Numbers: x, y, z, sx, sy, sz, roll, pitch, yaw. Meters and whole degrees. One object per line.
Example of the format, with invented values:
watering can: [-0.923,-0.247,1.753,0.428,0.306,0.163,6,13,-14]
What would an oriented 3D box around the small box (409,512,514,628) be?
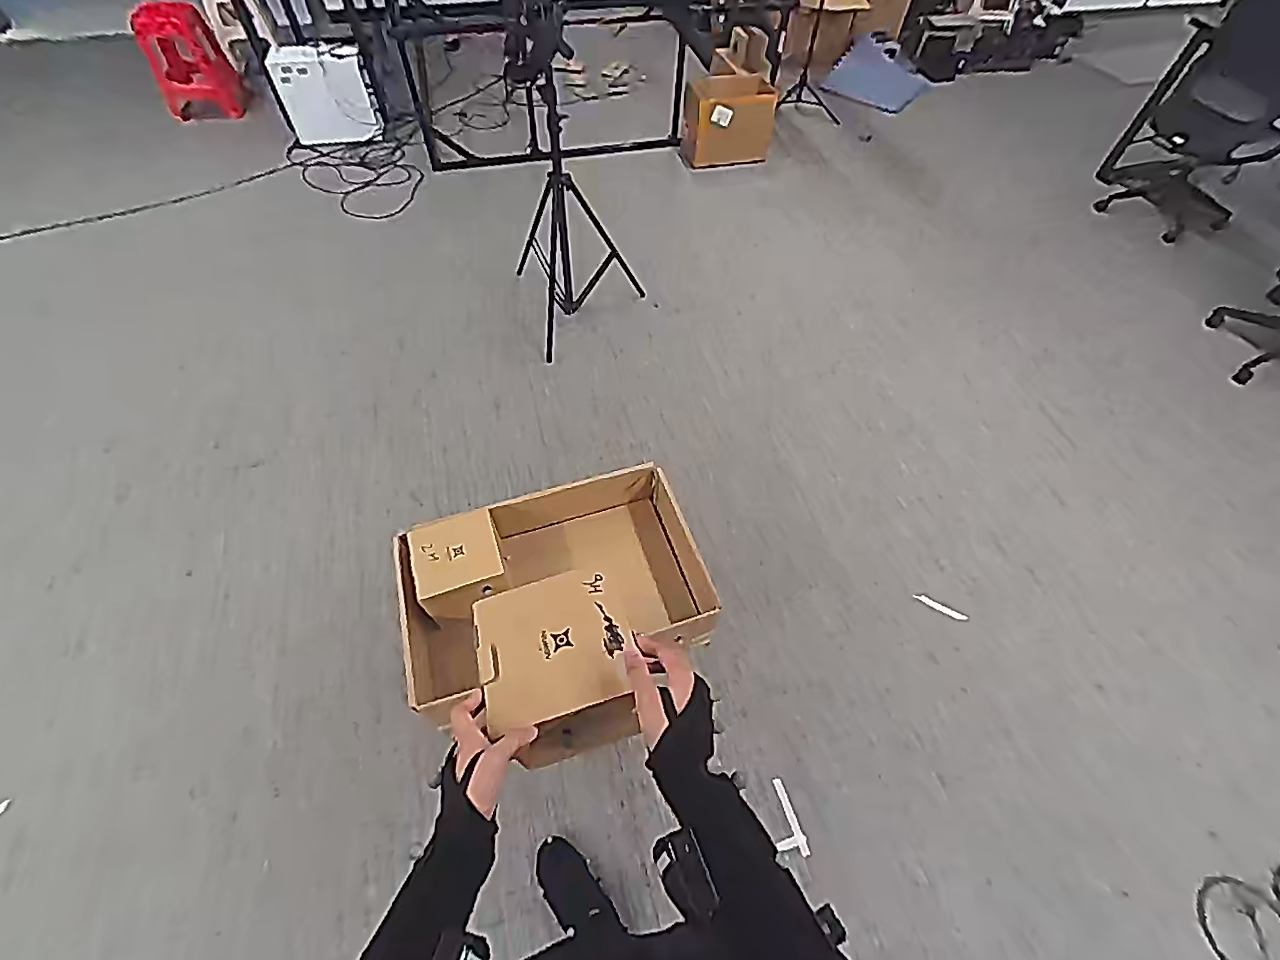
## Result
small box: [-0.380,0.199,1.179,0.179,0.176,0.168,-17,57,-12]

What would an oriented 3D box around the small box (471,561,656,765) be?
small box: [-0.091,0.233,0.675,0.179,0.176,0.168,-17,52,-5]
